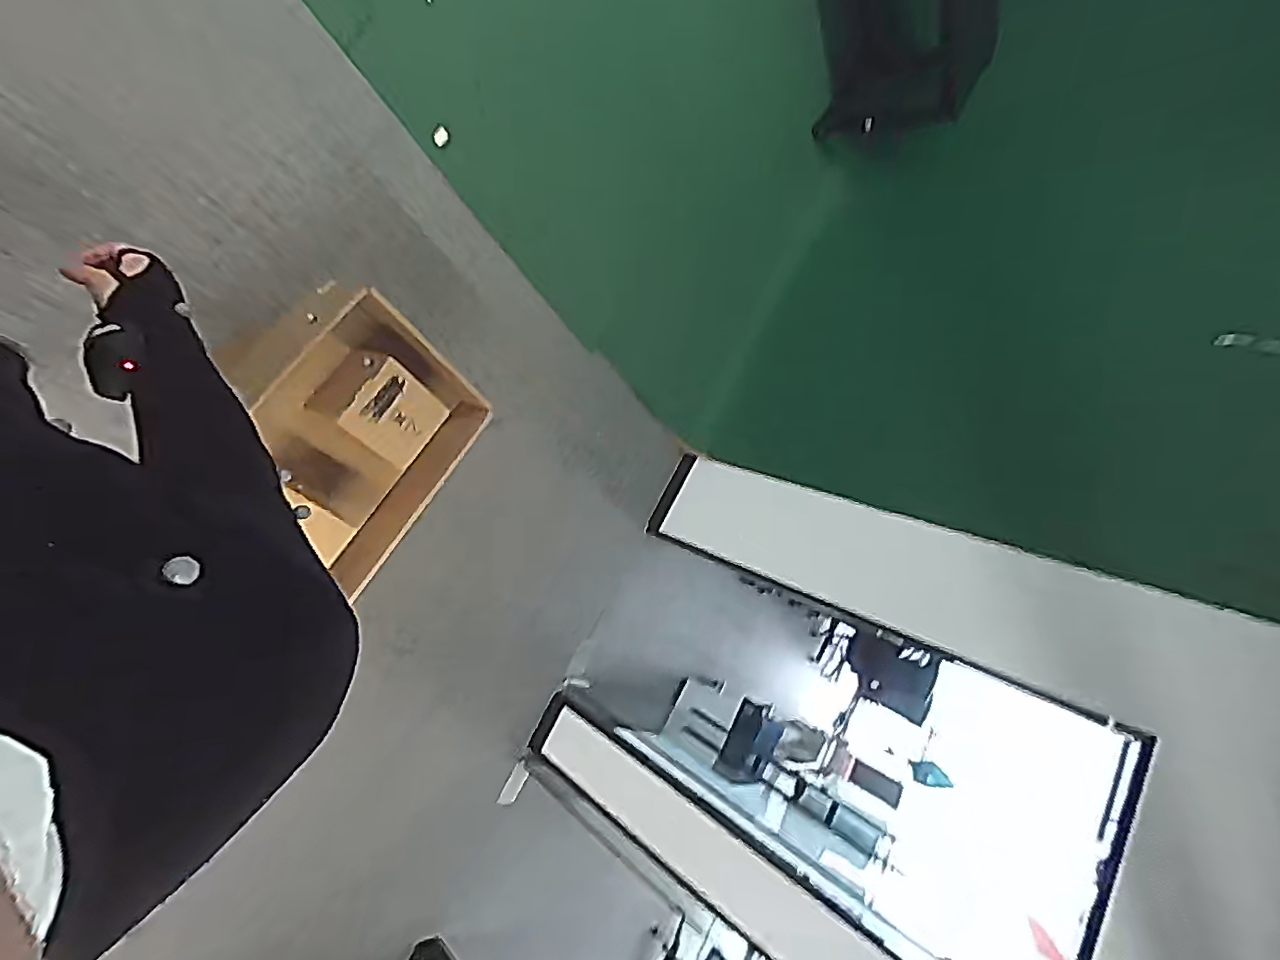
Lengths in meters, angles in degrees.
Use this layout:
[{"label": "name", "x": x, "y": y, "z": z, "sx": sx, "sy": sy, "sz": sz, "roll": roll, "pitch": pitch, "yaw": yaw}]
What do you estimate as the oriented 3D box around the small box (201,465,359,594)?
[{"label": "small box", "x": -0.704, "y": 0.091, "z": 1.061, "sx": 0.168, "sy": 0.176, "sz": 0.179, "roll": -56, "pitch": 139, "yaw": -16}]
